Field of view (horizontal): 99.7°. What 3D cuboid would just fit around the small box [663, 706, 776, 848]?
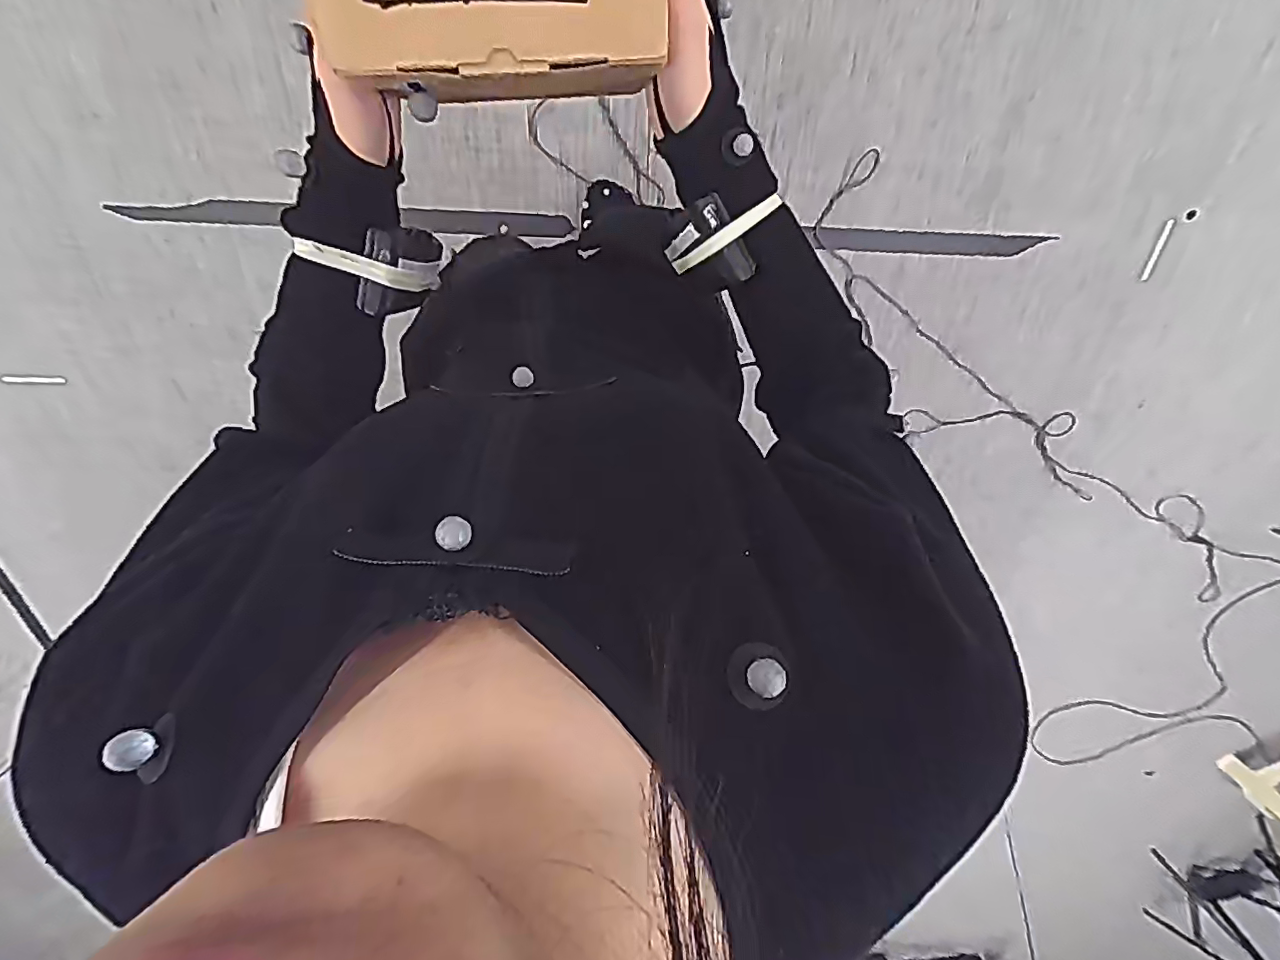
[{"bbox_3d":[0.133,0.534,0.982,0.179,0.176,0.168,-2,121,-1],"label":"small box"}]
